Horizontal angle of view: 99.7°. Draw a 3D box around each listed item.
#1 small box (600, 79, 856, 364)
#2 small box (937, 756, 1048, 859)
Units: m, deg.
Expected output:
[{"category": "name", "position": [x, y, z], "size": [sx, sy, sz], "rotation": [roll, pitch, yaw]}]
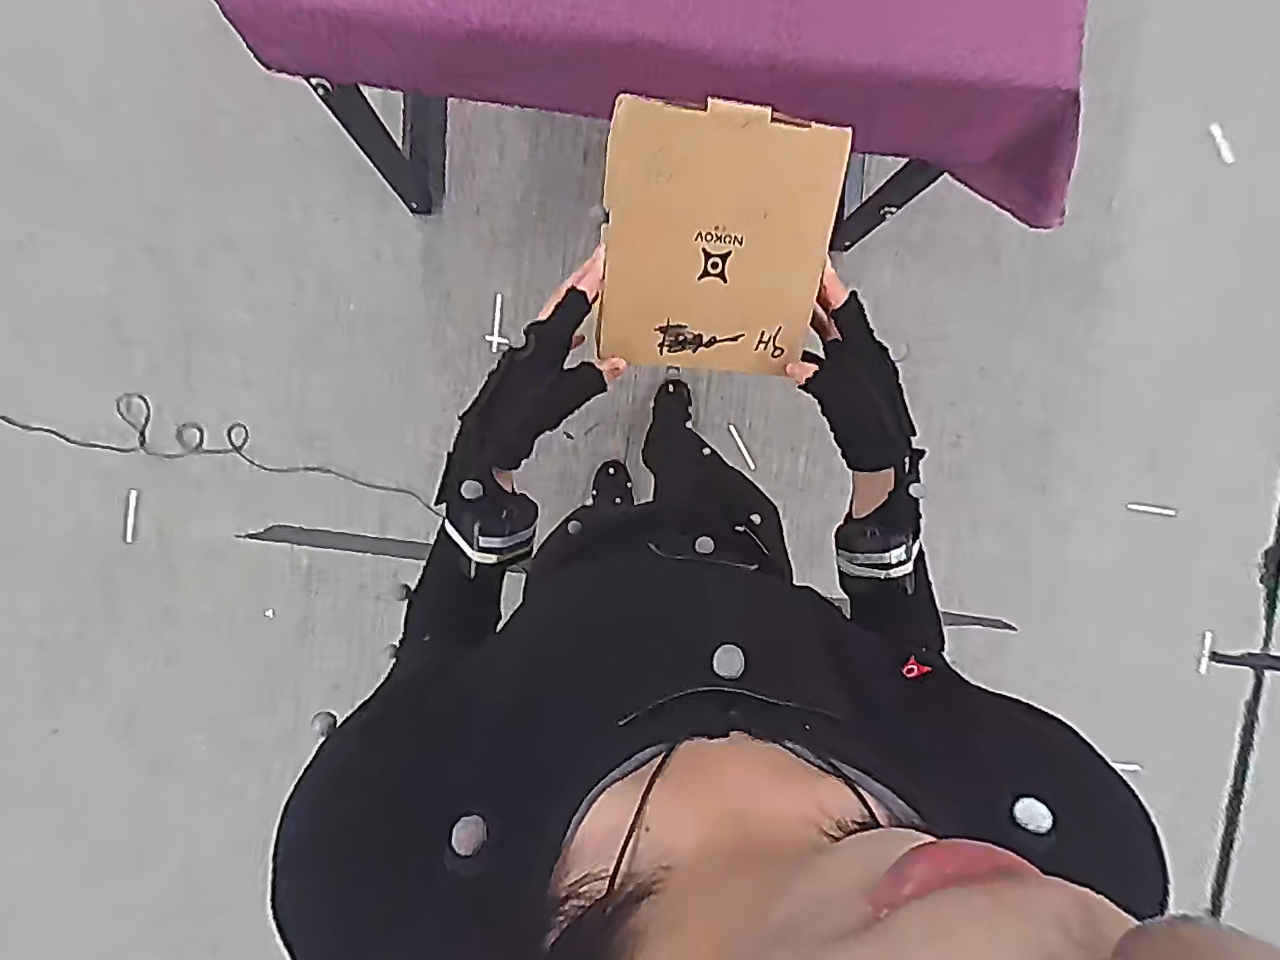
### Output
[{"category": "small box", "position": [0.054, -0.210, 0.468], "size": [0.168, 0.176, 0.179], "rotation": [3, 114, -7]}, {"category": "small box", "position": [1.006, 0.931, 1.556], "size": [0.179, 0.176, 0.168], "rotation": [23, 90, -4]}]
